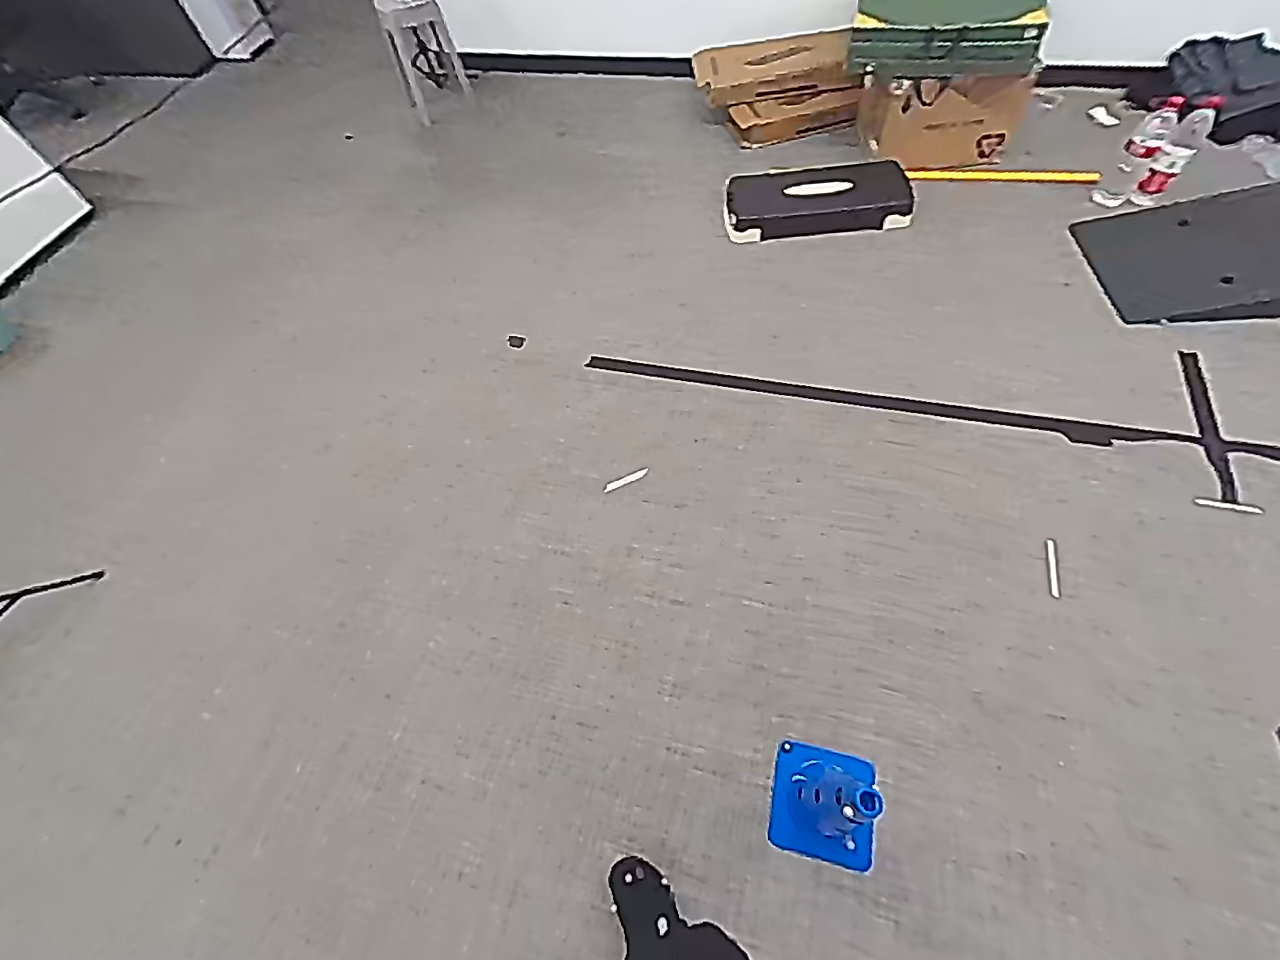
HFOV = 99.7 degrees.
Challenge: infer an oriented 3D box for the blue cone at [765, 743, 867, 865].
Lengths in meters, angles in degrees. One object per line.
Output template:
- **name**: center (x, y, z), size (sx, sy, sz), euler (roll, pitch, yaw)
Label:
- **blue cone**: center (0.341, 0.567, 0.958), size (0.192, 0.380, 0.193), euler (11, 61, 13)
